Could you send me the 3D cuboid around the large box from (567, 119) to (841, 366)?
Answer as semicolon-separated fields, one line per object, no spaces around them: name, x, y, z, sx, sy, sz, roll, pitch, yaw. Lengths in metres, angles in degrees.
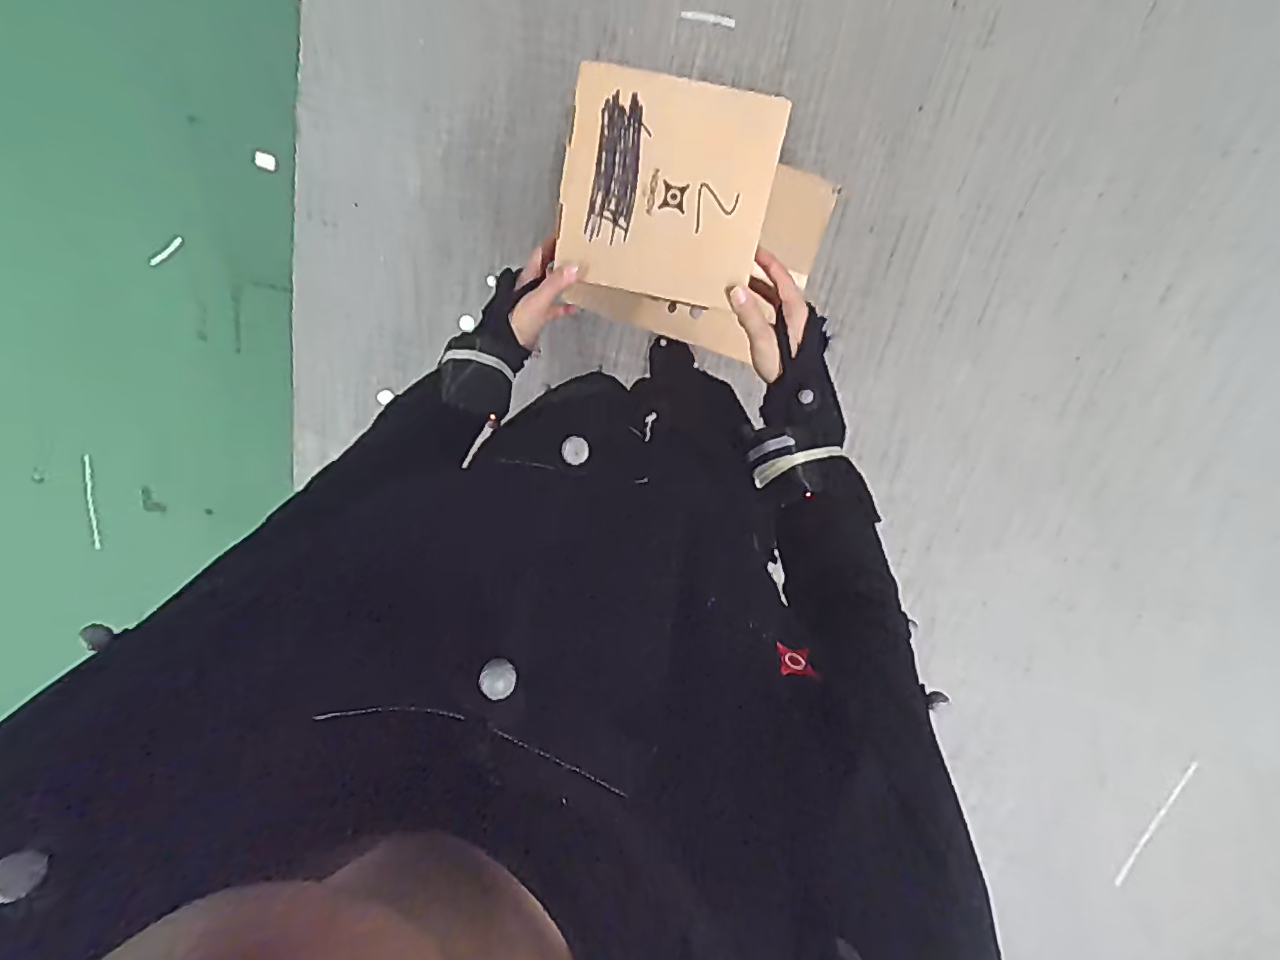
large box;0.109;-0.442;1.063;0.408;0.320;0.320;18;110;0

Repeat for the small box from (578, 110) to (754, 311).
small box;0.034;-0.323;0.684;0.168;0.176;0.179;15;108;0
